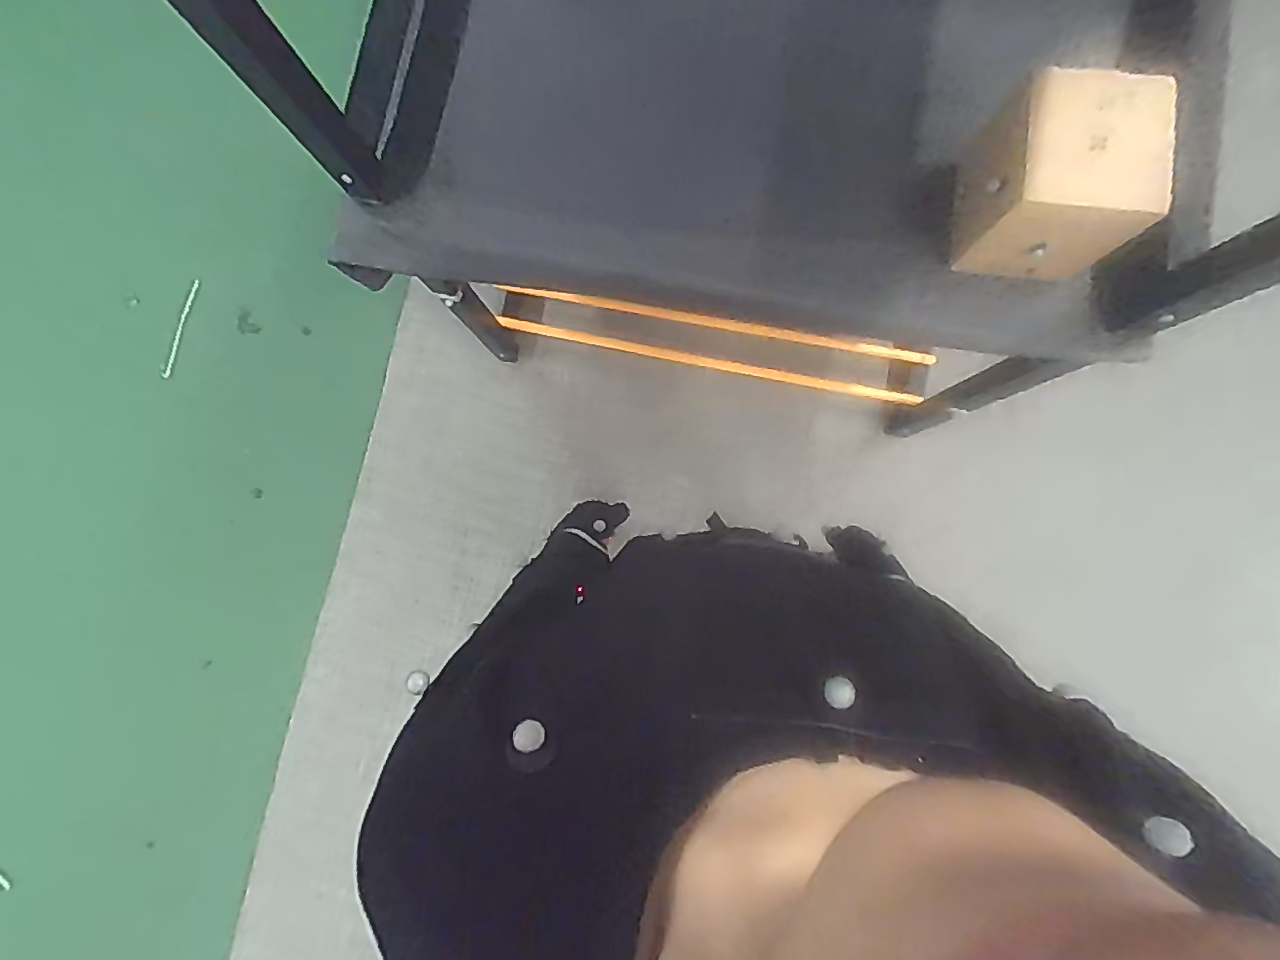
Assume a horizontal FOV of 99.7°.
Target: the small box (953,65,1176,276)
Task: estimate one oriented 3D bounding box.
[{"bbox_3d":[0.541,-0.392,0.713,0.168,0.176,0.179,7,84,3],"label":"small box"}]
